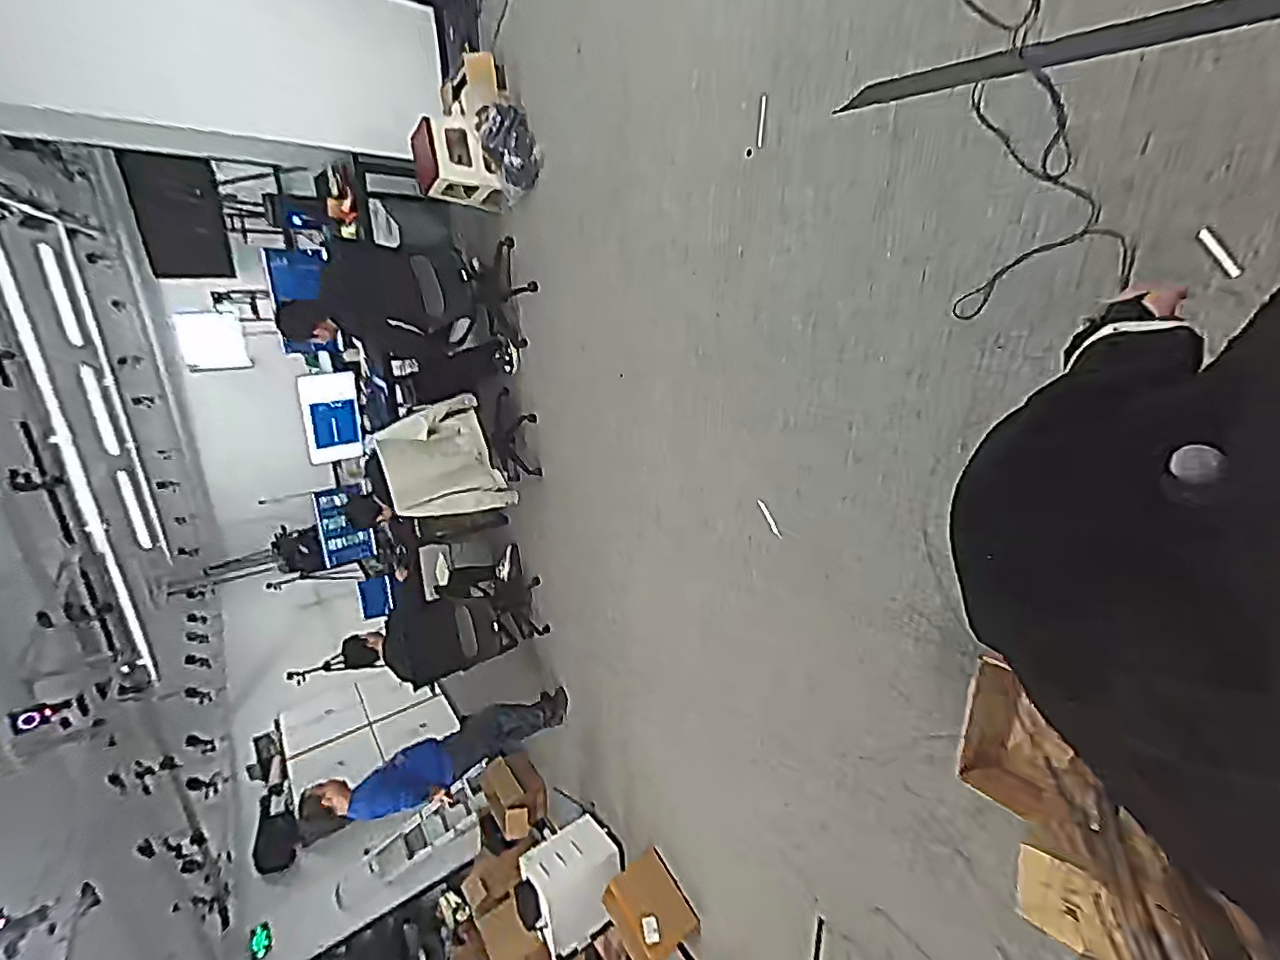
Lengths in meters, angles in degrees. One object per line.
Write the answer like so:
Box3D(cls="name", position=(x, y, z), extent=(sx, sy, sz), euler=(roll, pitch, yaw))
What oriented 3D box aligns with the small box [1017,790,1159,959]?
Box3D(cls="small box", position=(0.820, 0.724, 0.993), extent=(0.168, 0.176, 0.179), euler=(10, 111, 51))
